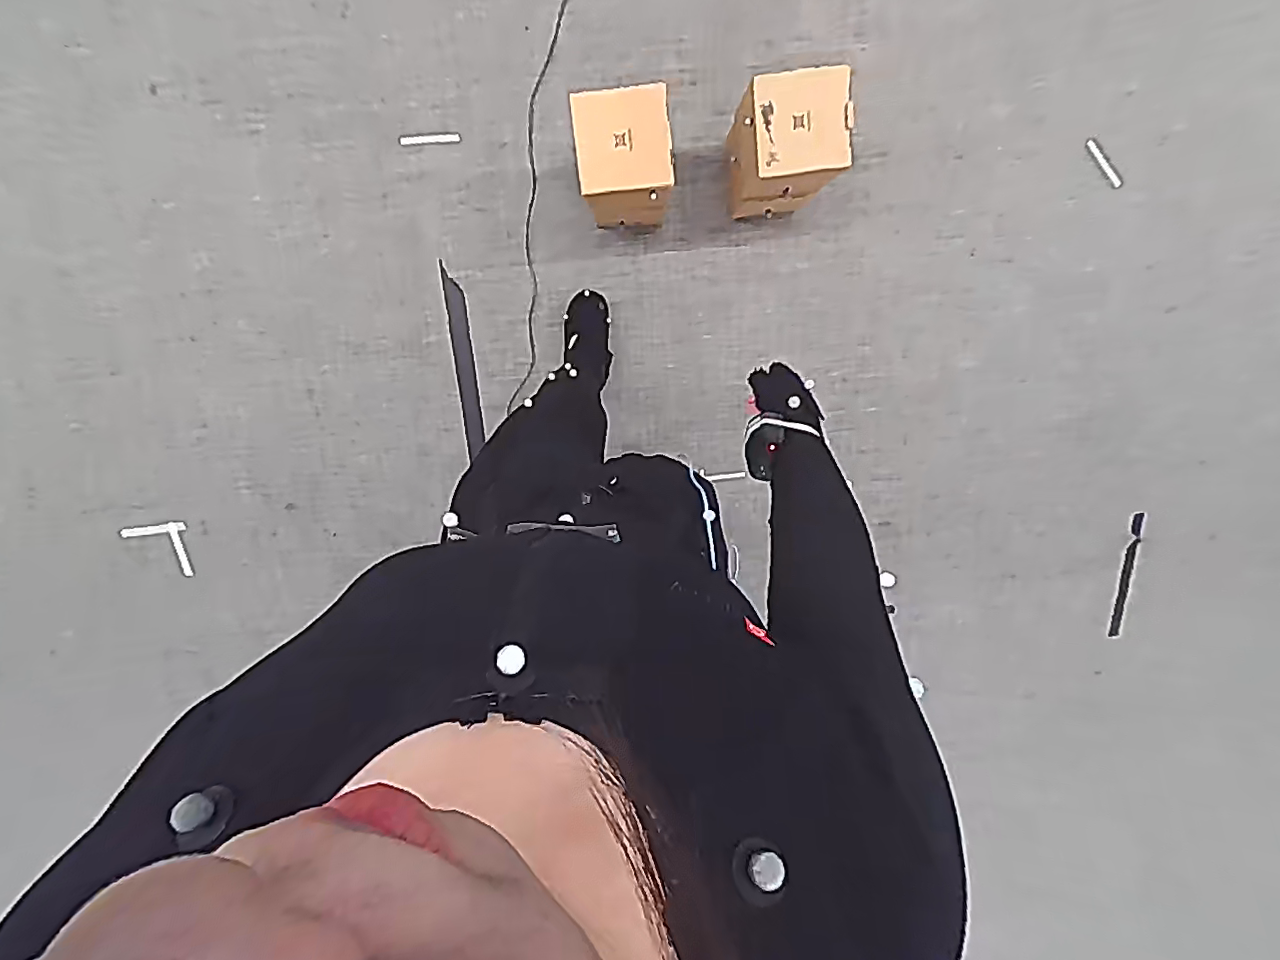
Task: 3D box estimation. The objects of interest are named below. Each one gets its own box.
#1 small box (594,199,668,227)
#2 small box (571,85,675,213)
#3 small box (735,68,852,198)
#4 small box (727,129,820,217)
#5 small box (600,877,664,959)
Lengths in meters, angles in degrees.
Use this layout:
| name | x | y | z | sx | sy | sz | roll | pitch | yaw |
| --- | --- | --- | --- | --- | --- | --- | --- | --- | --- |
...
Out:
| name | x | y | z | sx | sy | sz | roll | pitch | yaw |
| --- | --- | --- | --- | --- | --- | --- | --- | --- | --- |
| small box | -0.026 | -0.678 | 1.210 | 0.168 | 0.176 | 0.179 | -3 | 107 | 0 |
| small box | -0.030 | -0.633 | 1.054 | 0.179 | 0.176 | 0.168 | -7 | 106 | 1 |
| small box | 0.292 | -0.664 | 1.051 | 0.179 | 0.176 | 0.168 | -7 | 105 | -1 |
| small box | 0.294 | -0.707 | 1.210 | 0.168 | 0.176 | 0.179 | -6 | 106 | 1 |
| small box | -0.023 | 1.298 | 1.578 | 0.179 | 0.176 | 0.168 | -1 | 107 | -2 |
